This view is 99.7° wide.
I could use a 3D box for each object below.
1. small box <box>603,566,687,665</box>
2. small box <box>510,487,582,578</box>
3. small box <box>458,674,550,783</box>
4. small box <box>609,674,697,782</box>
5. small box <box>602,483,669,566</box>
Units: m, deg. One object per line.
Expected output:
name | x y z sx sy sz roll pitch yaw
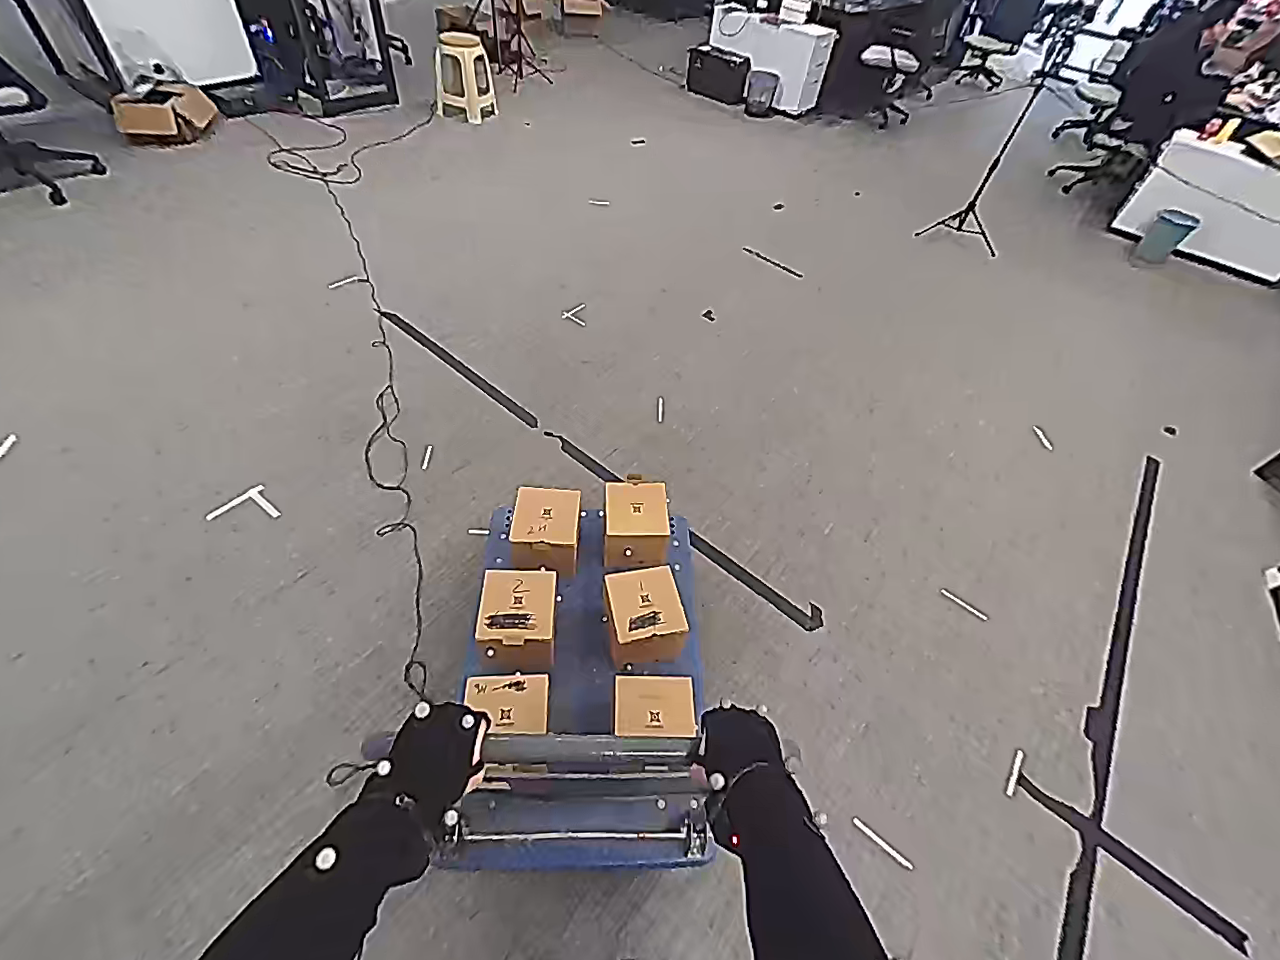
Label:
small box | 0.004 0.336 1.323 0.168 0.176 0.179 -6 51 -13
small box | -0.247 0.142 1.450 0.168 0.176 0.179 4 50 -4
small box | -0.274 0.521 1.127 0.168 0.176 0.179 1 50 -8
small box | 0.023 0.535 1.160 0.168 0.176 0.179 4 49 -5
small box | -0.017 0.127 1.497 0.168 0.176 0.179 1 50 -7
